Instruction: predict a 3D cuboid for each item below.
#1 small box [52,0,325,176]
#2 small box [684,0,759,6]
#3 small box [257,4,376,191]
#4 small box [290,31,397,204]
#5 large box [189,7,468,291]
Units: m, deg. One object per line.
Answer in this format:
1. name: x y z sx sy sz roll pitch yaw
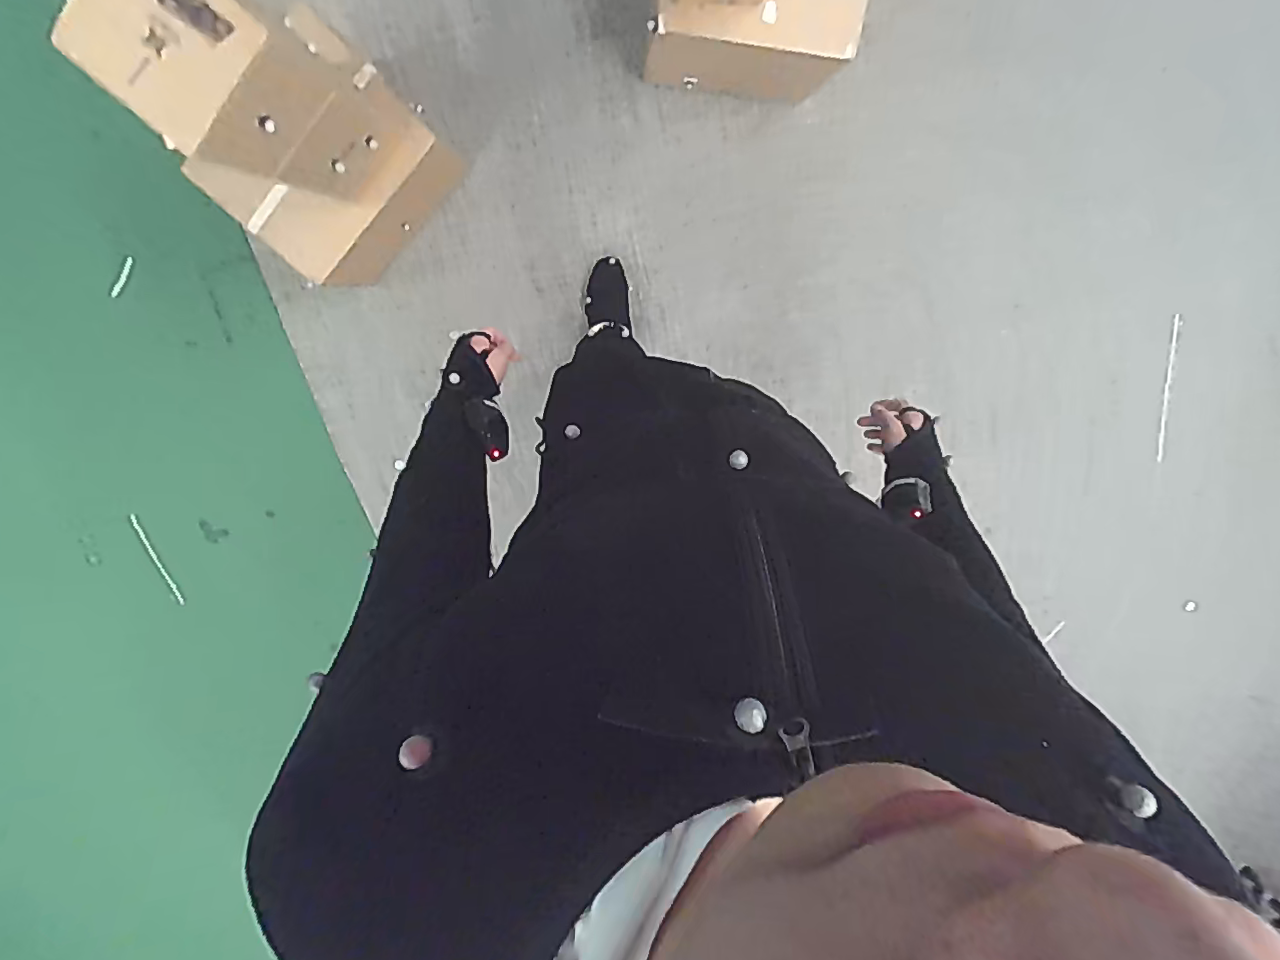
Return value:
1. small box: -0.531 -0.516 0.669 0.168 0.176 0.179 42 104 -17
2. small box: 0.150 -0.942 0.915 0.168 0.176 0.179 -3 111 -4
3. small box: -0.548 -0.573 0.821 0.168 0.176 0.179 -43 108 12
4. small box: -0.567 -0.633 0.971 0.168 0.176 0.179 42 102 -17
5. large box: -0.657 -0.687 1.208 0.320 0.320 0.408 43 102 -15
